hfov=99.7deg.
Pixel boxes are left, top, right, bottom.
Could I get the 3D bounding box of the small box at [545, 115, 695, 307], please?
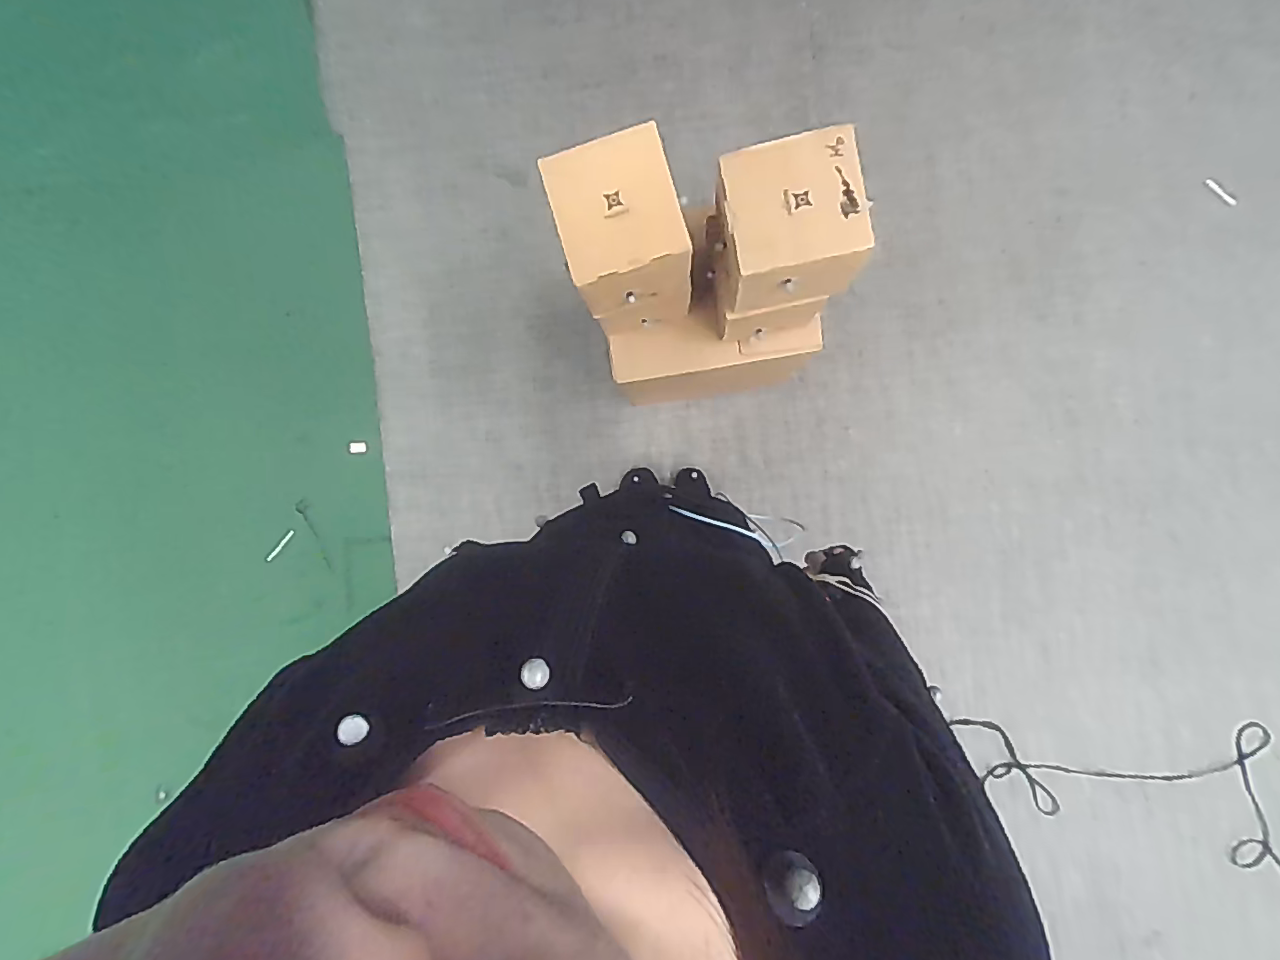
[{"bbox_3d":[-0.024,-0.380,0.796,0.168,0.176,0.179,-16,92,4],"label":"small box"}]
